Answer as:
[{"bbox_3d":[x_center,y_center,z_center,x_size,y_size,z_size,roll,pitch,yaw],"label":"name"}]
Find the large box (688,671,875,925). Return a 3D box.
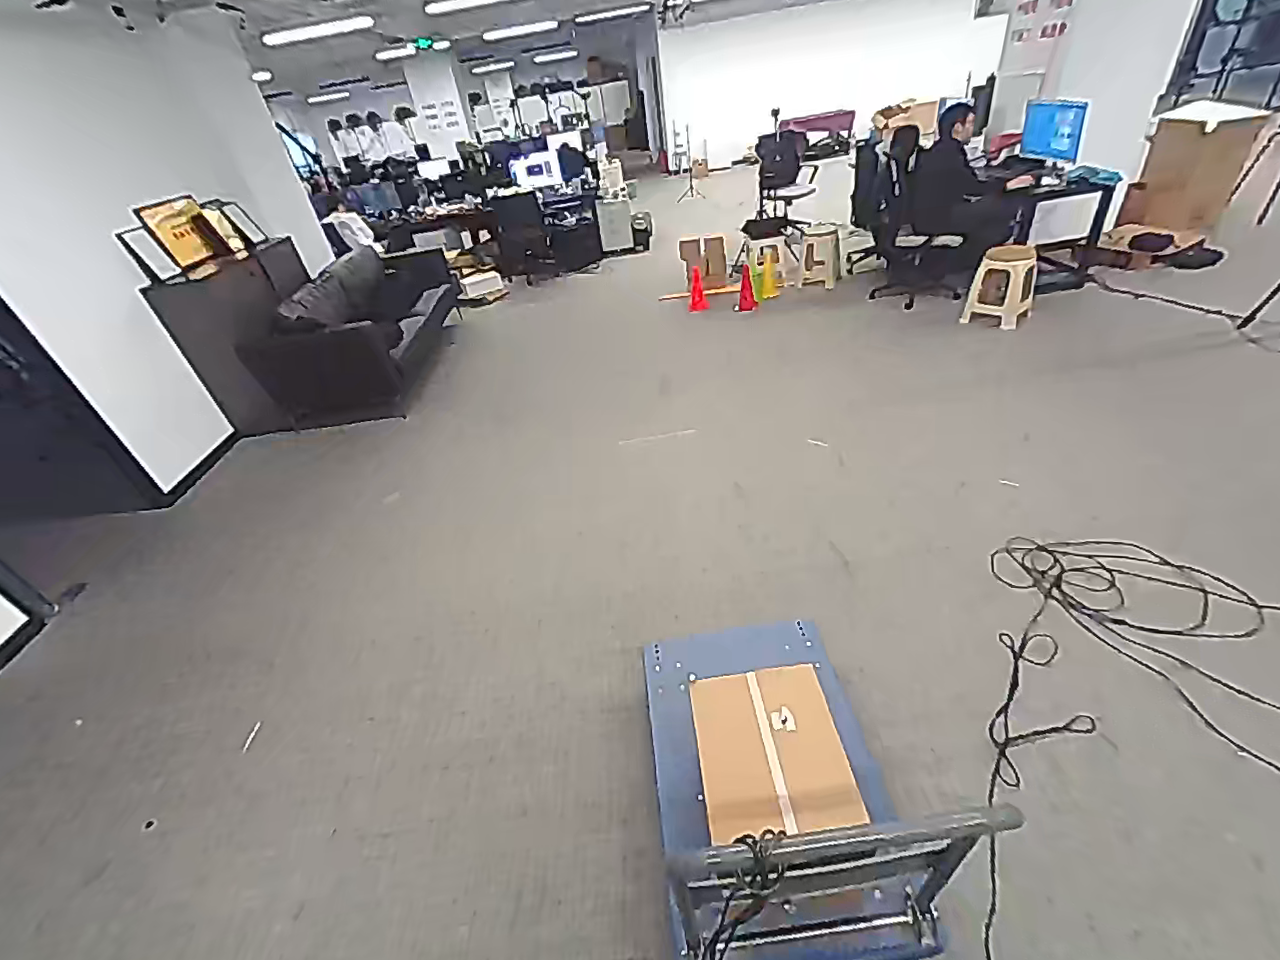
[{"bbox_3d":[0.307,0.730,1.267,0.320,0.320,0.408,-8,34,2],"label":"large box"}]
